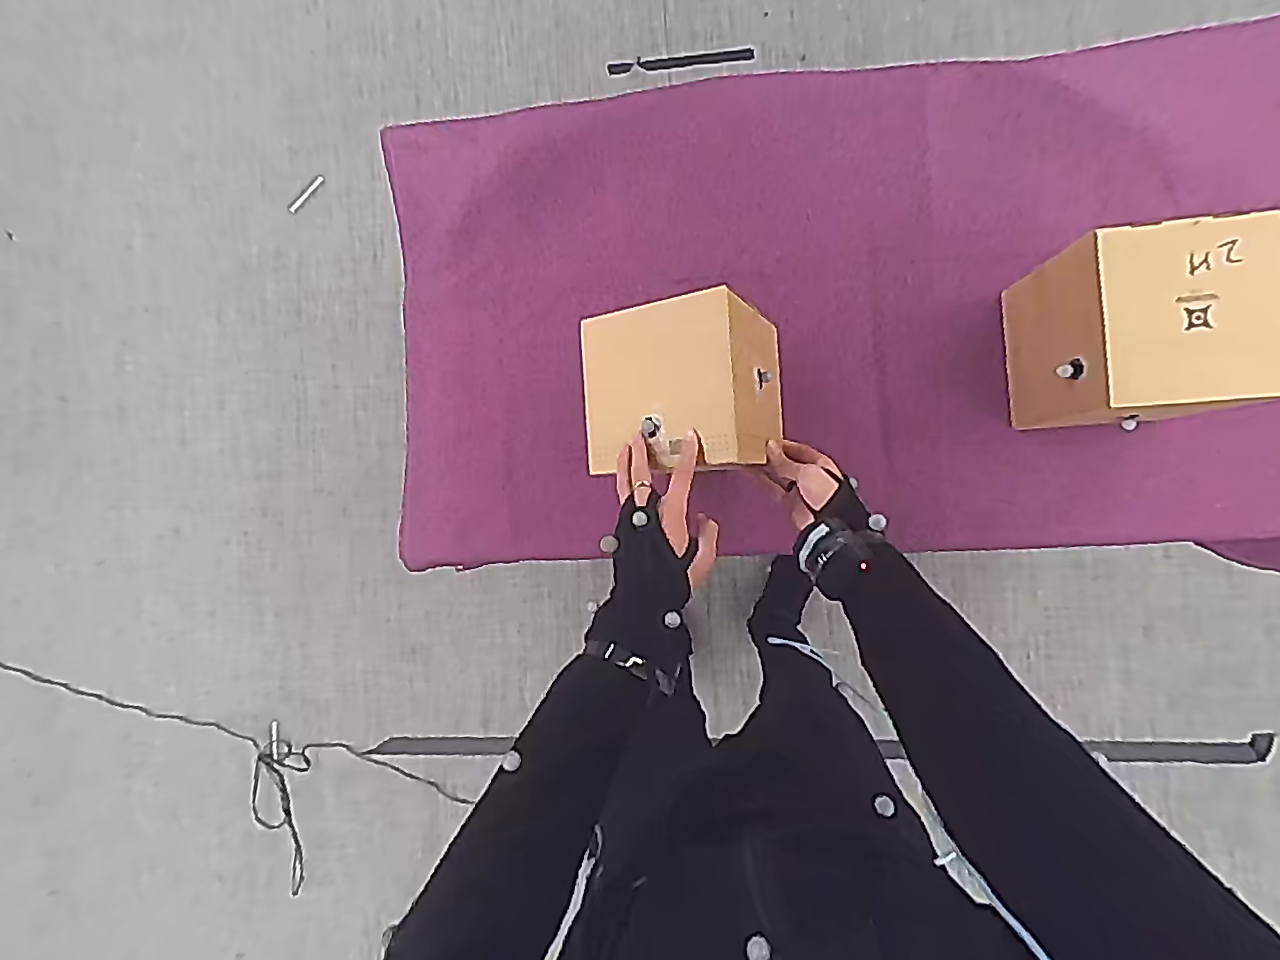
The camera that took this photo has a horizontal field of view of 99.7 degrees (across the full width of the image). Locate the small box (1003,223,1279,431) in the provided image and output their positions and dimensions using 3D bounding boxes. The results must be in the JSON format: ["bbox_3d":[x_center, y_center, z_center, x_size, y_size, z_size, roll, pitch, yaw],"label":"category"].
[{"bbox_3d":[0.528,-0.148,0.588,0.168,0.176,0.179,-3,88,6],"label":"small box"}]
